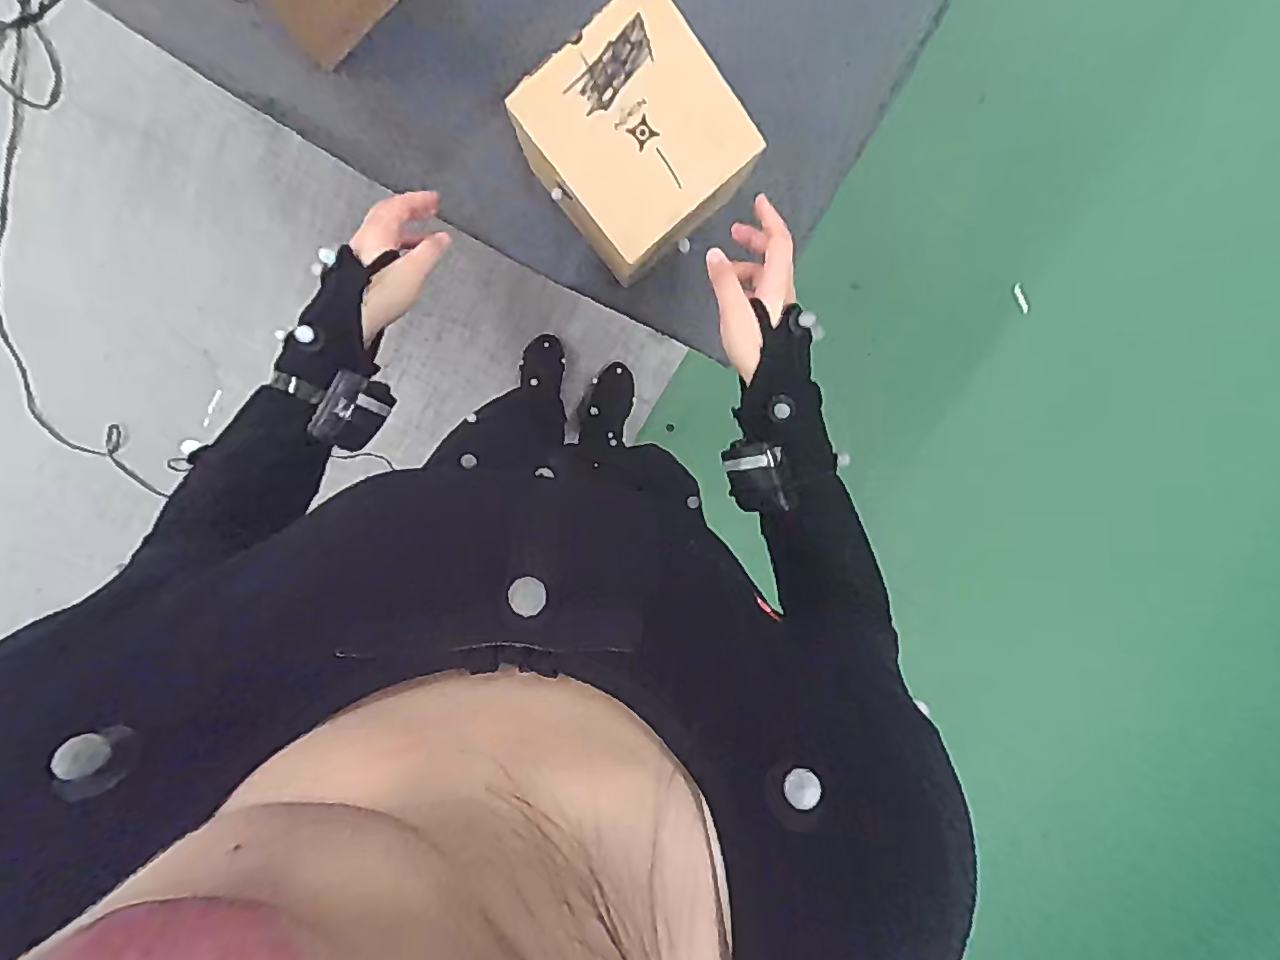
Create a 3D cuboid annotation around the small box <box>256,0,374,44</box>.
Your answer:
[{"bbox_3d":[-0.338,-0.550,0.488,0.168,0.176,0.179,-40,102,6],"label":"small box"}]

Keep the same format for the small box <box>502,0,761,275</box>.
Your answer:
[{"bbox_3d":[-0.010,-0.337,0.553,0.168,0.176,0.179,-39,102,6],"label":"small box"}]

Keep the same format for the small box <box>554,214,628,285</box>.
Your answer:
[{"bbox_3d":[-0.082,-0.566,1.247,0.168,0.176,0.179,23,104,-9],"label":"small box"}]
